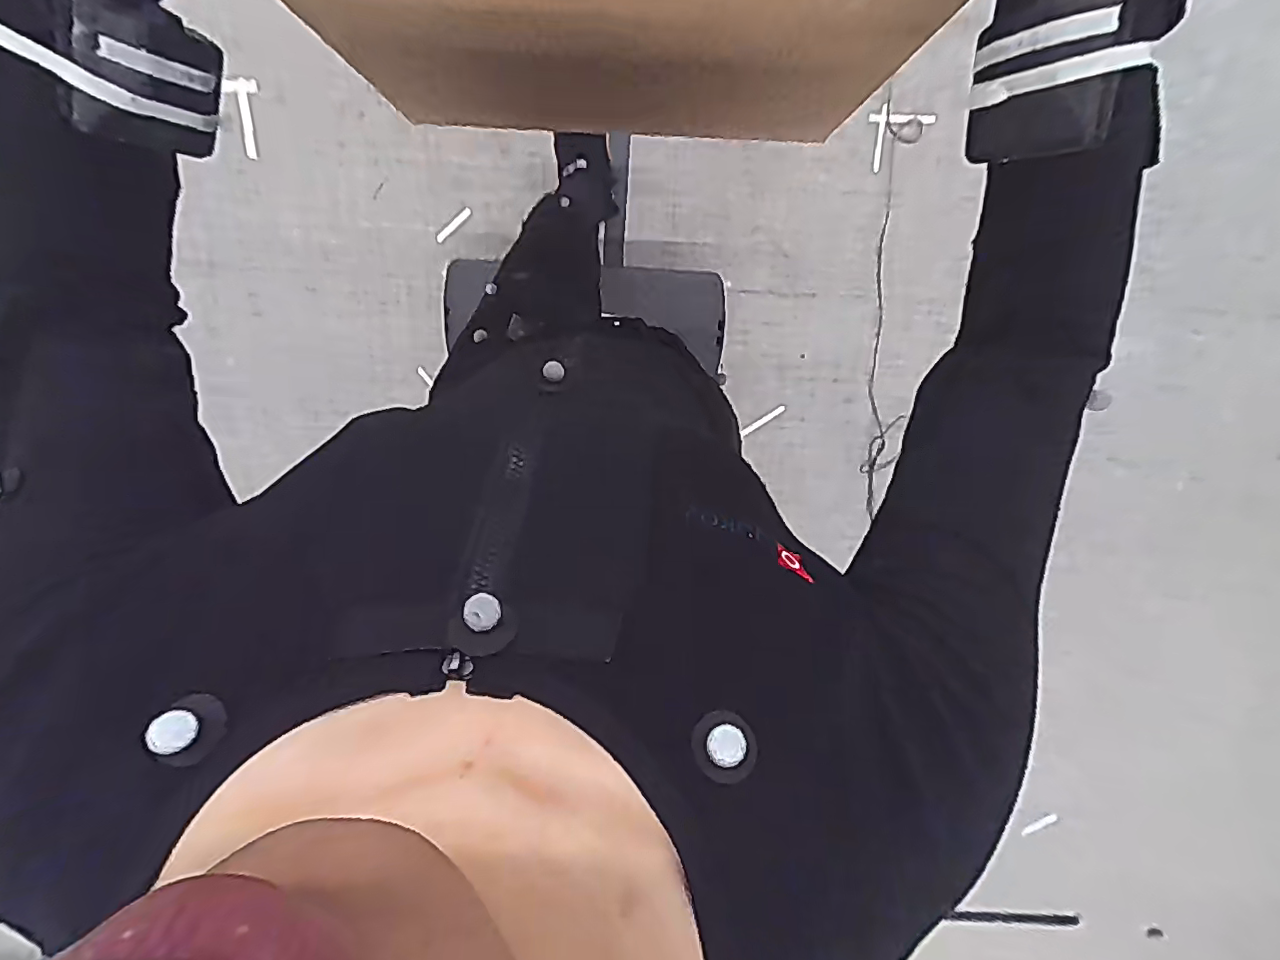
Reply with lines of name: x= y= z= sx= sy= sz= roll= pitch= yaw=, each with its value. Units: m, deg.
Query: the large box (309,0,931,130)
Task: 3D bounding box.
large box: x=-0.015 y=-0.455 z=0.347 sx=0.408 sy=0.320 sz=0.320 roll=1 pitch=105 yaw=-2
